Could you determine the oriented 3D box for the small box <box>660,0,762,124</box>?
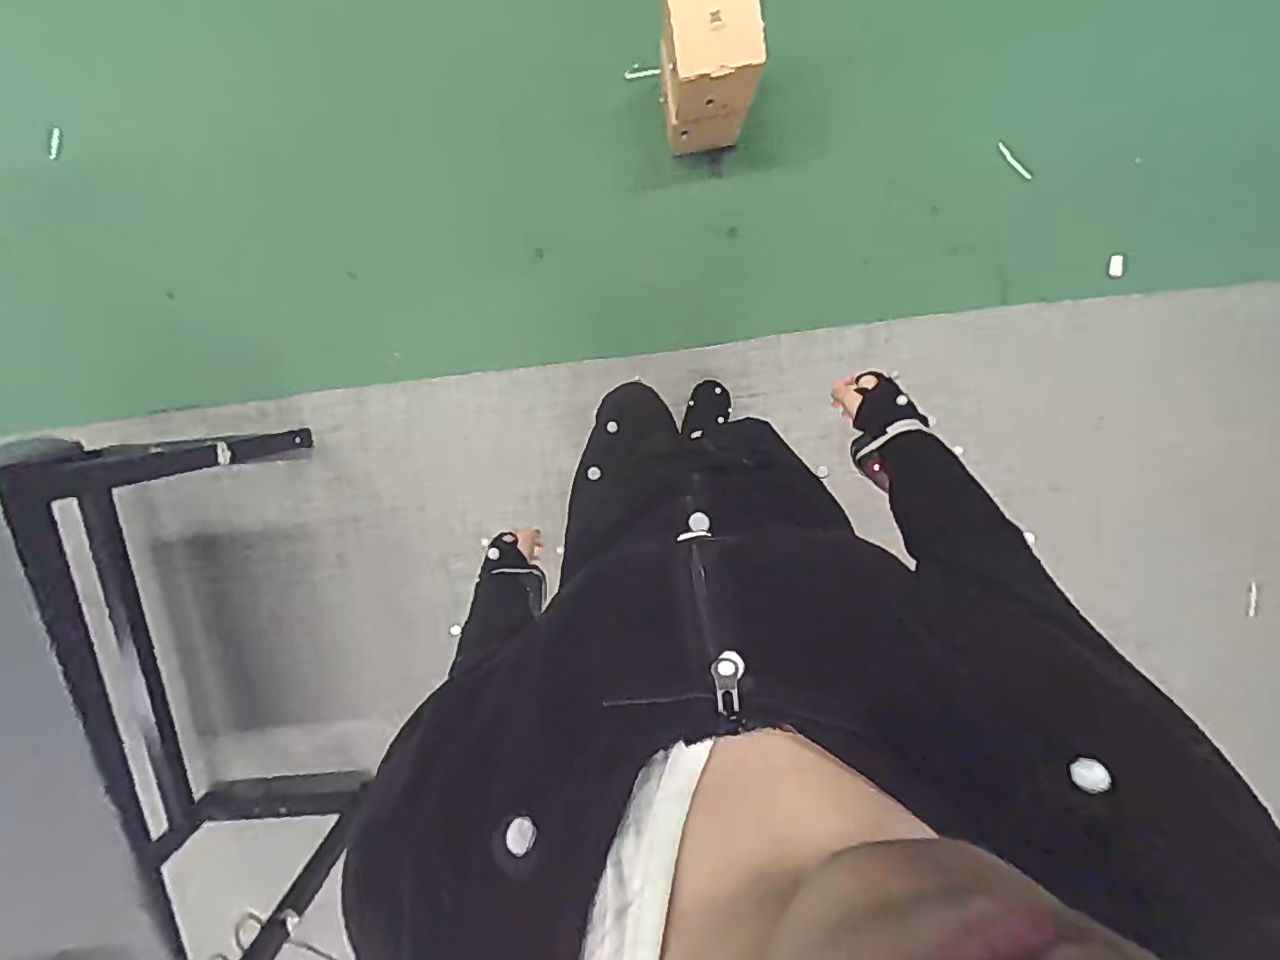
[{"bbox_3d":[0.134,-0.853,1.075,0.168,0.176,0.179,-10,100,2],"label":"small box"}]
